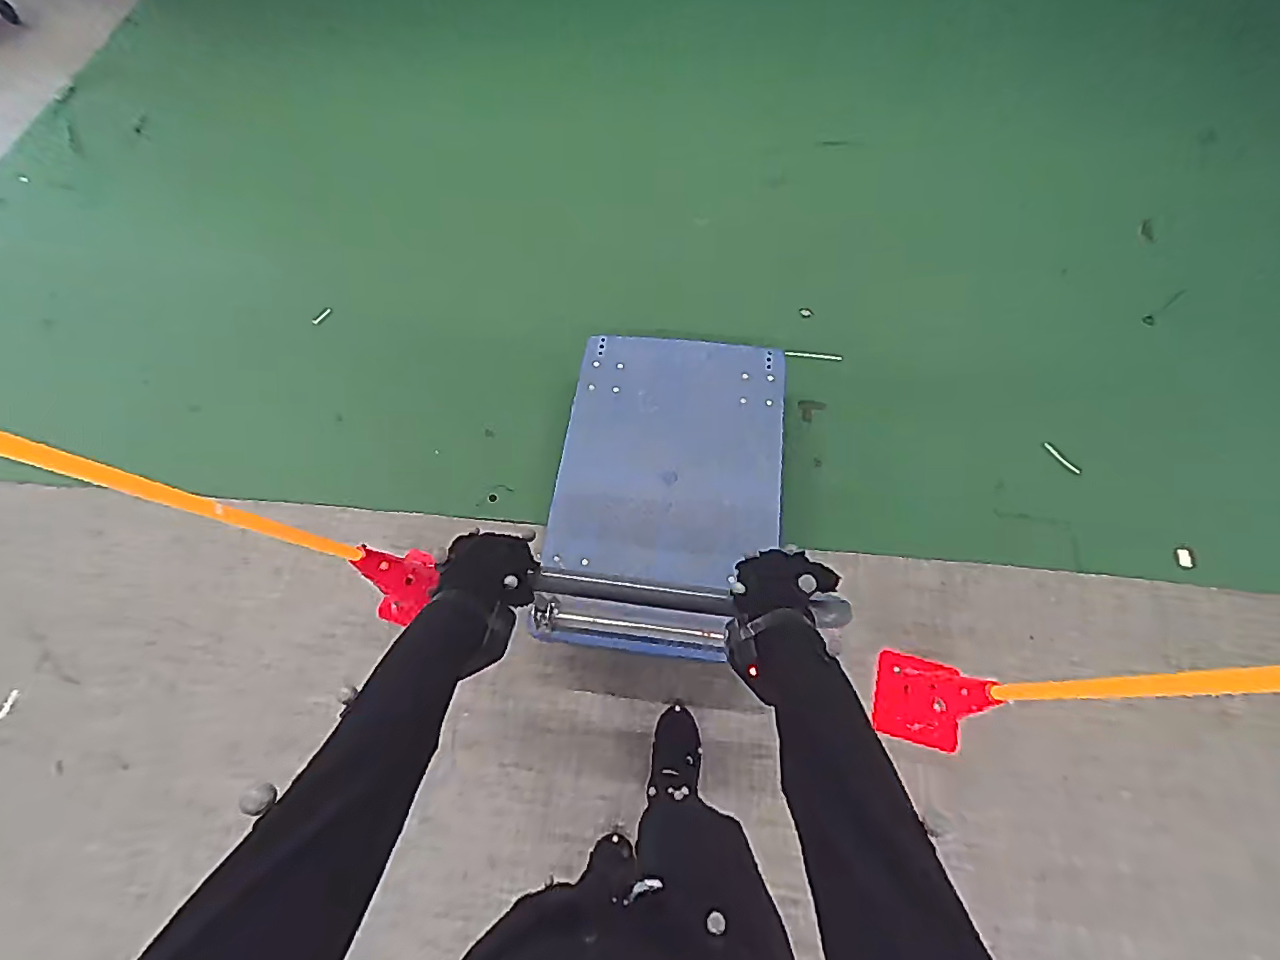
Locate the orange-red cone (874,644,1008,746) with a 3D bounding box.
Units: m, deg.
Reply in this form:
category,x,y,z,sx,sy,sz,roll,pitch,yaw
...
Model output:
category,x,y,z,sx,sy,sz,roll,pitch,yaw
orange-red cone,0.670,0.449,1.155,0.198,0.360,0.199,15,68,10
